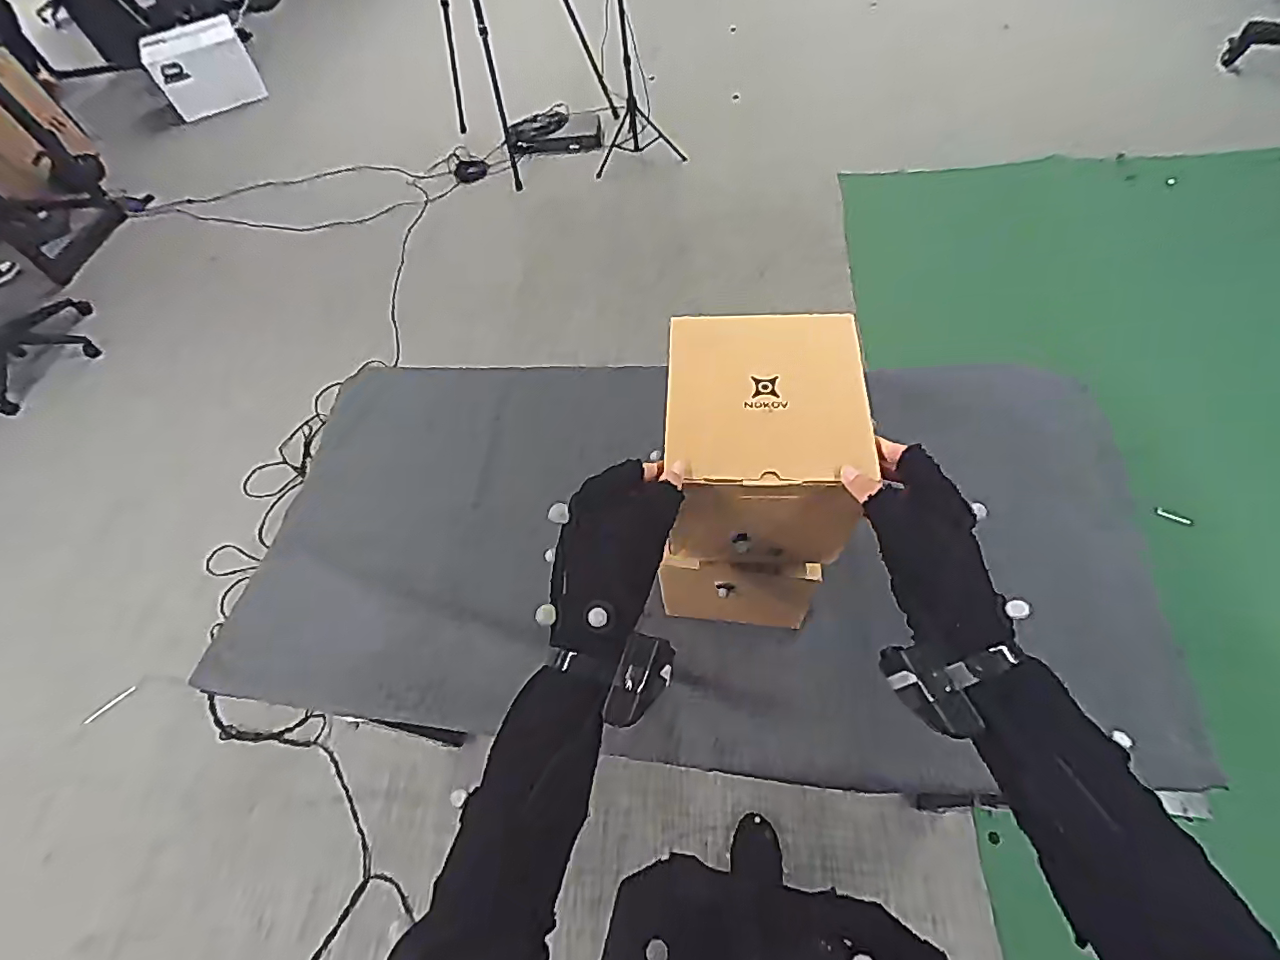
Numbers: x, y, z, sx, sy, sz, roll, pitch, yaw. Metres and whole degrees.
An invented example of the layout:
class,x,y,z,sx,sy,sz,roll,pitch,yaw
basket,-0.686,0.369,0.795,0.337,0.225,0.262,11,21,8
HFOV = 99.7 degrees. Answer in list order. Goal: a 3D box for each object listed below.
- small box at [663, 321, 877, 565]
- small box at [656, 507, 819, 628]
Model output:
class,x,y,z,sx,sy,sz,roll,pitch,yaw
small box,0.109,-0.032,0.525,0.168,0.176,0.179,1,61,6
small box,0.123,0.078,0.687,0.179,0.176,0.168,4,58,9
